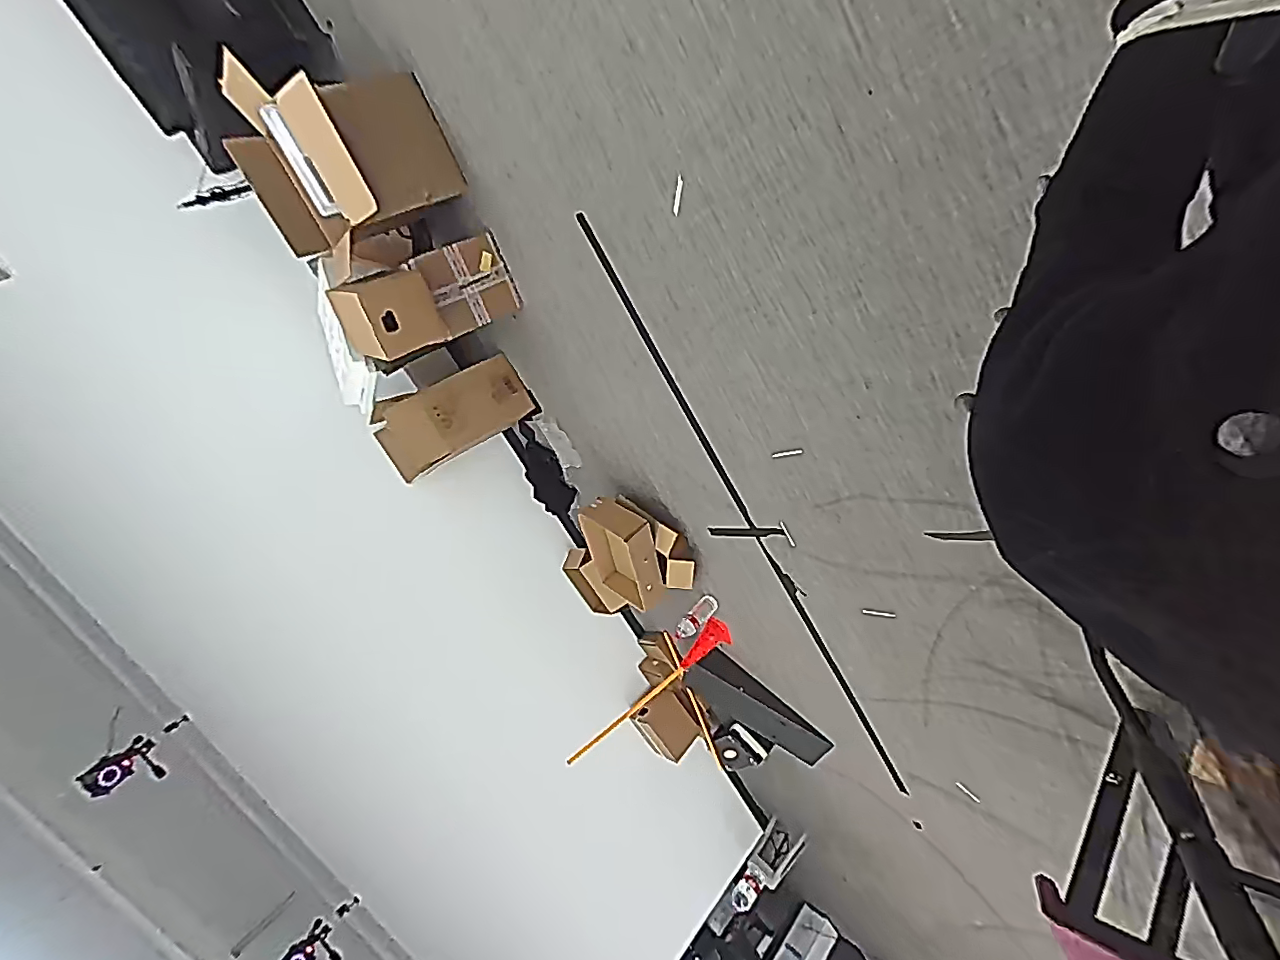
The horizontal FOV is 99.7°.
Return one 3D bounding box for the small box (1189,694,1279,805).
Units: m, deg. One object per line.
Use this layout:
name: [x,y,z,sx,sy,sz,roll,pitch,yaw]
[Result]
small box: [1.604,0.702,1.432,0.179,0.176,0.168,13,133,47]
